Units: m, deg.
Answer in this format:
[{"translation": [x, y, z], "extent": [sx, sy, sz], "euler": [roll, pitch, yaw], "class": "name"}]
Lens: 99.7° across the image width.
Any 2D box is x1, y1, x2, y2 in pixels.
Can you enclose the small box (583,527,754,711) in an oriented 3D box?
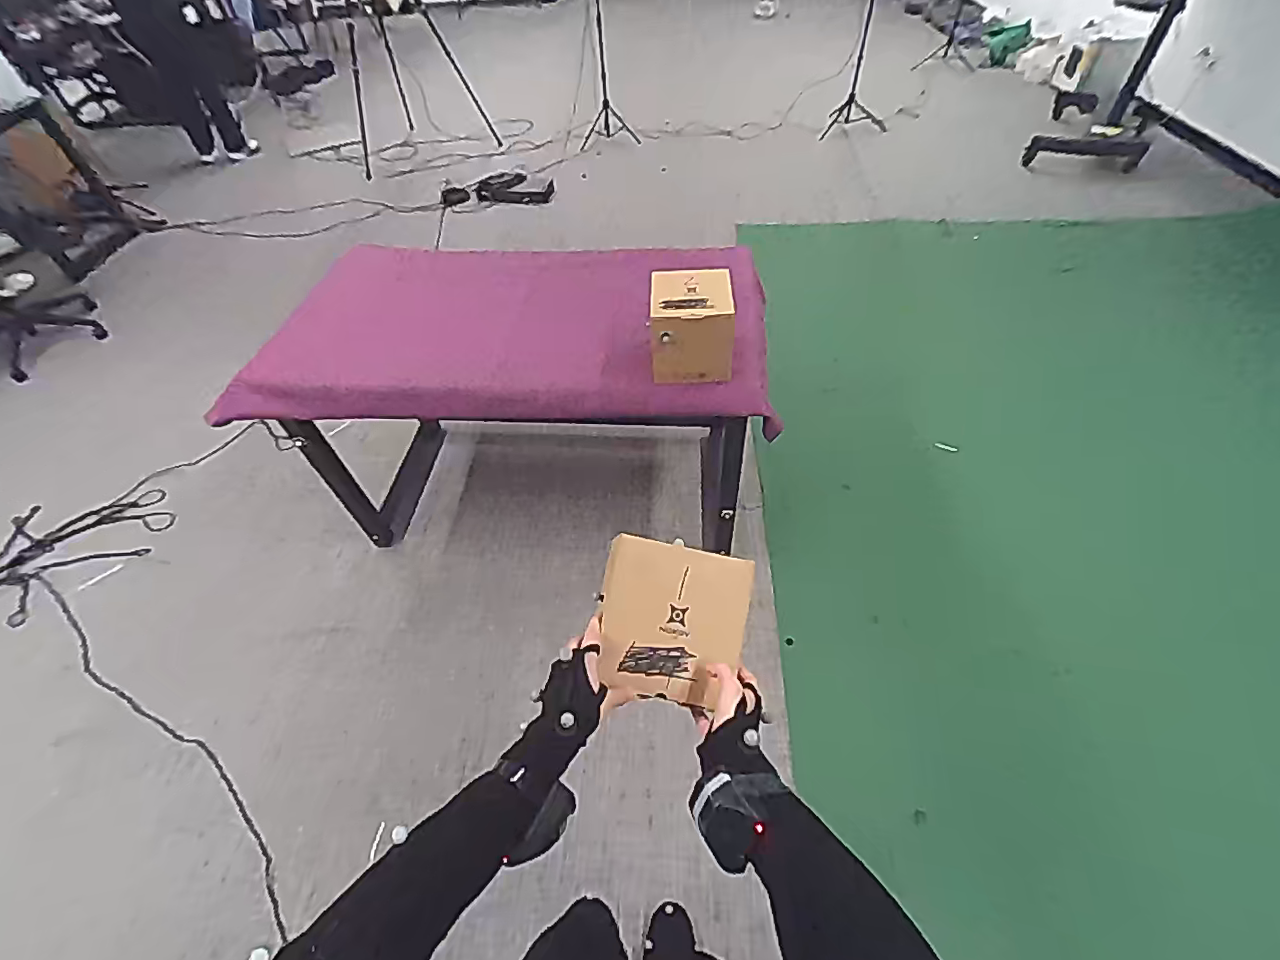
[{"translation": [0.028, 0.170, 0.693], "extent": [0.168, 0.176, 0.179], "euler": [14, 79, -5], "class": "small box"}]
